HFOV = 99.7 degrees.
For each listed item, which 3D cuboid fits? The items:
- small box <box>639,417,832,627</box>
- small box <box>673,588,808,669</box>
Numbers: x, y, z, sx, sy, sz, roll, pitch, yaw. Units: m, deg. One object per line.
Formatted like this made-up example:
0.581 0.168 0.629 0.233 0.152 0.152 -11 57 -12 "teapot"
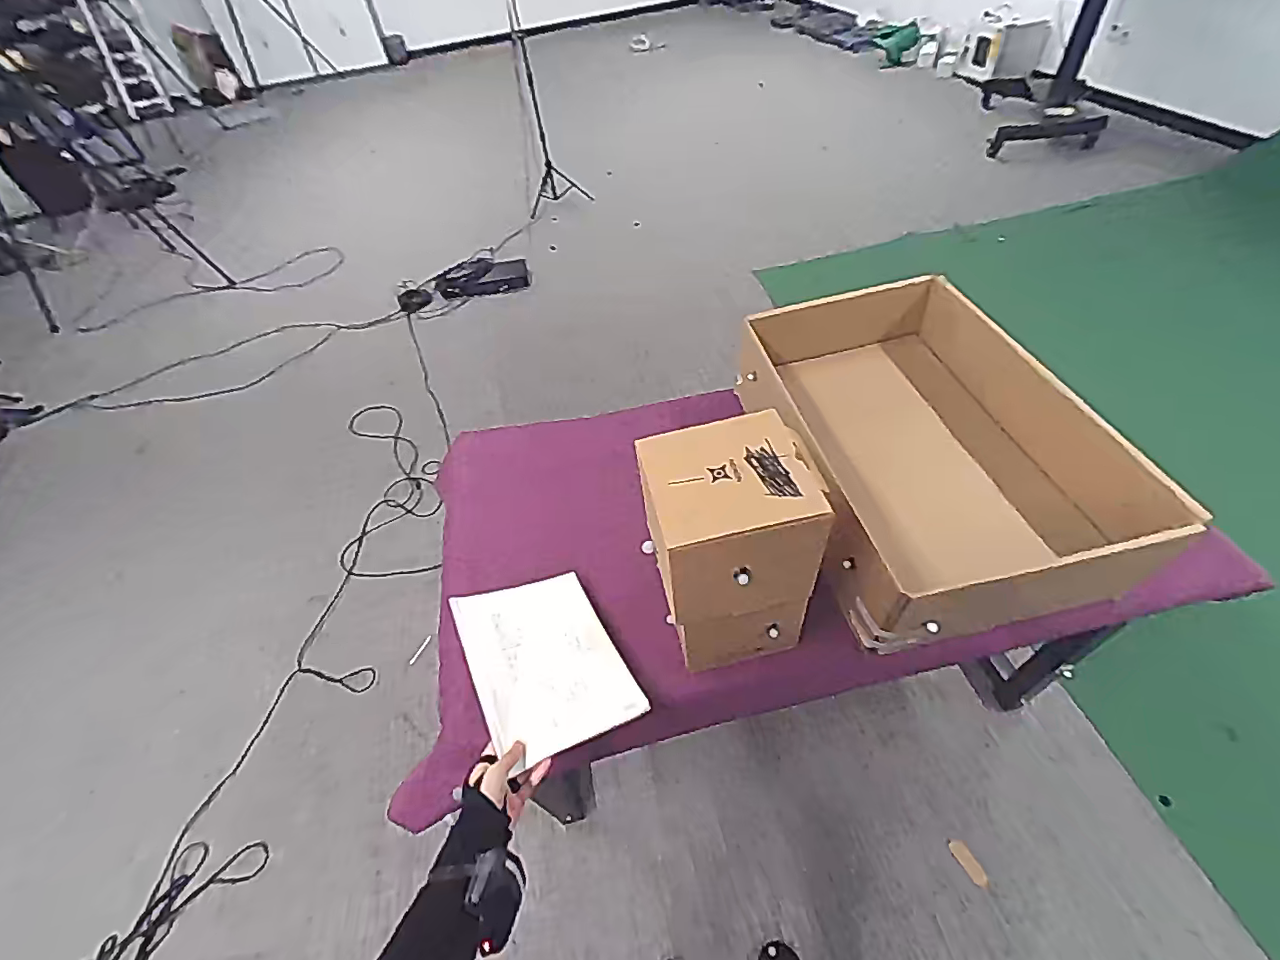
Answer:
0.104 0.053 0.651 0.179 0.176 0.168 -12 47 -3 "small box"
0.125 0.153 0.779 0.168 0.176 0.179 -12 47 -3 "small box"
